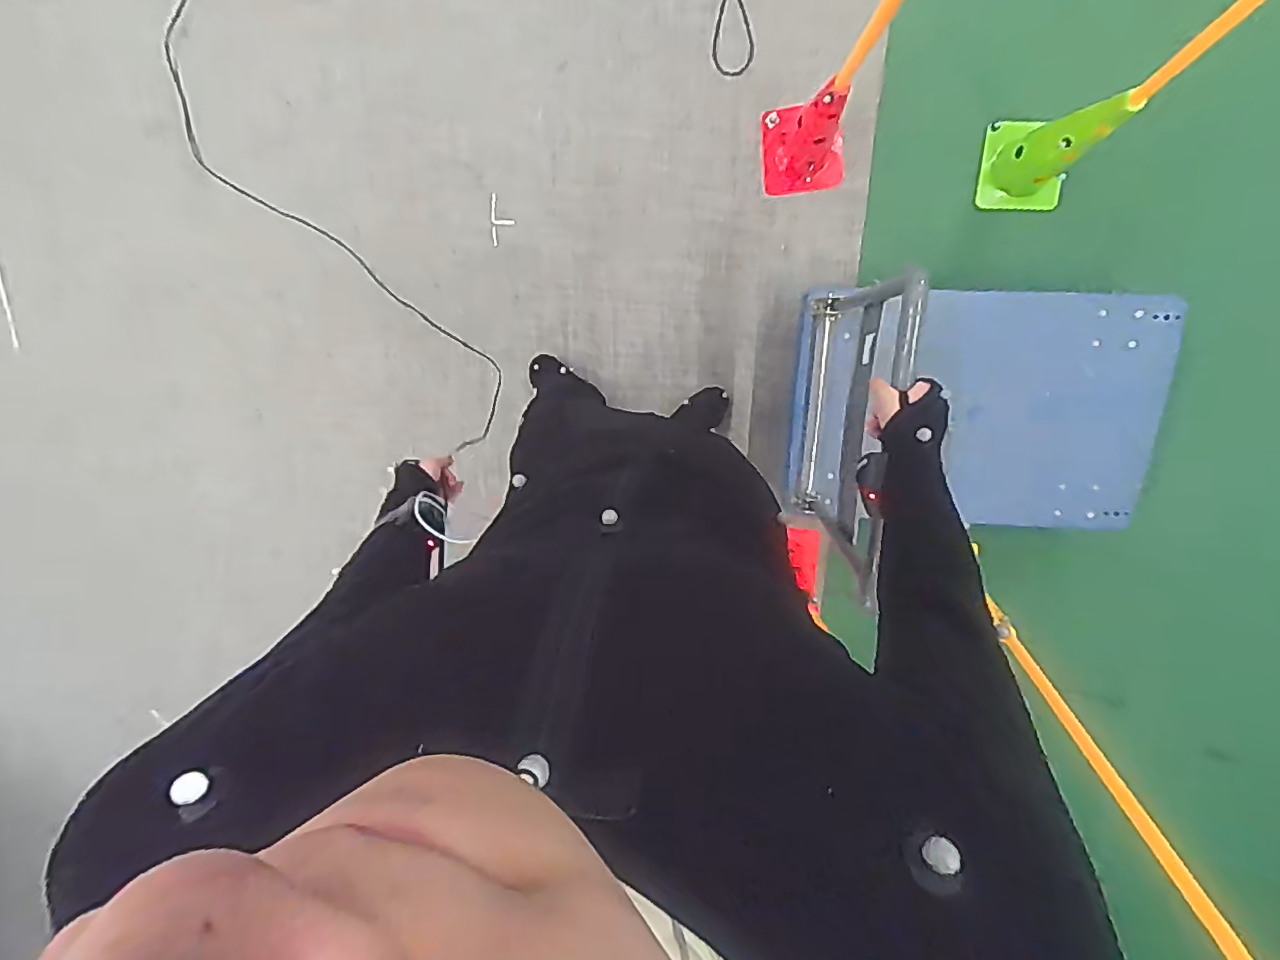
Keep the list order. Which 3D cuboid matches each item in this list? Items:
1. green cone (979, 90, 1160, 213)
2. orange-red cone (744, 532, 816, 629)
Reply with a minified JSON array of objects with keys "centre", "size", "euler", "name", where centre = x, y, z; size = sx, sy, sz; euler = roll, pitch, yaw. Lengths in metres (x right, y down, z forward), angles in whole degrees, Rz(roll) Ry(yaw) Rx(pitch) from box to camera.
[{"centre":[0.943,-0.732,1.169],"size":[0.202,0.368,0.200],"euler":[3,103,2],"name":"green cone"},{"centre":[0.412,0.294,1.456],"size":[0.199,0.360,0.198],"euler":[3,104,2],"name":"orange-red cone"}]
